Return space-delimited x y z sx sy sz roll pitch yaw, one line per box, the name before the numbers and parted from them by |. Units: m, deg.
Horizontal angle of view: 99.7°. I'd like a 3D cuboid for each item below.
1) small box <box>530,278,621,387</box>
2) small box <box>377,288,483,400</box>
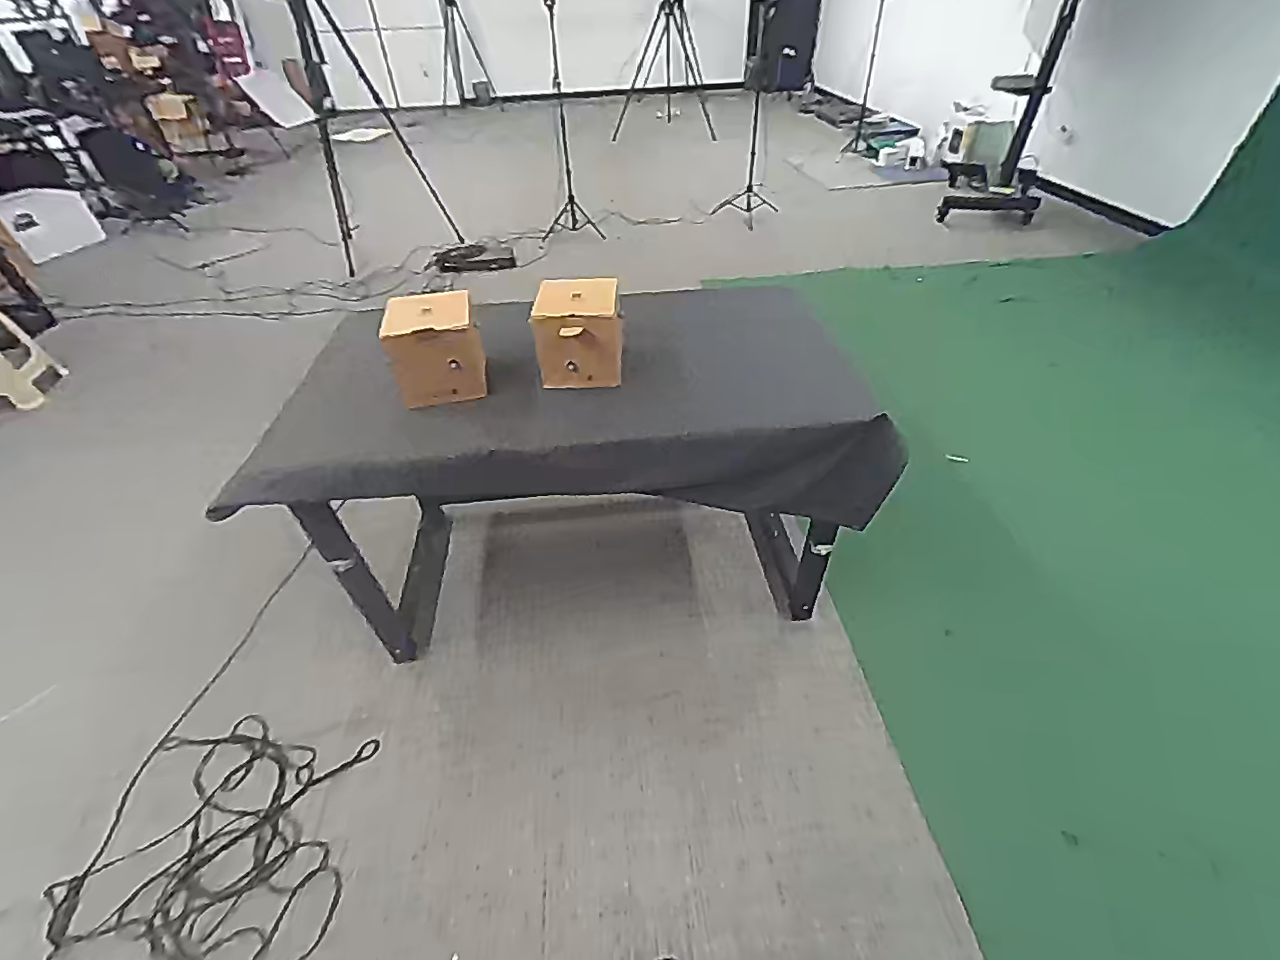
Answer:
small box | -0.129 -0.316 1.153 0.168 0.176 0.179 0 43 1
small box | -0.424 -0.277 1.121 0.168 0.176 0.179 -9 42 -10
